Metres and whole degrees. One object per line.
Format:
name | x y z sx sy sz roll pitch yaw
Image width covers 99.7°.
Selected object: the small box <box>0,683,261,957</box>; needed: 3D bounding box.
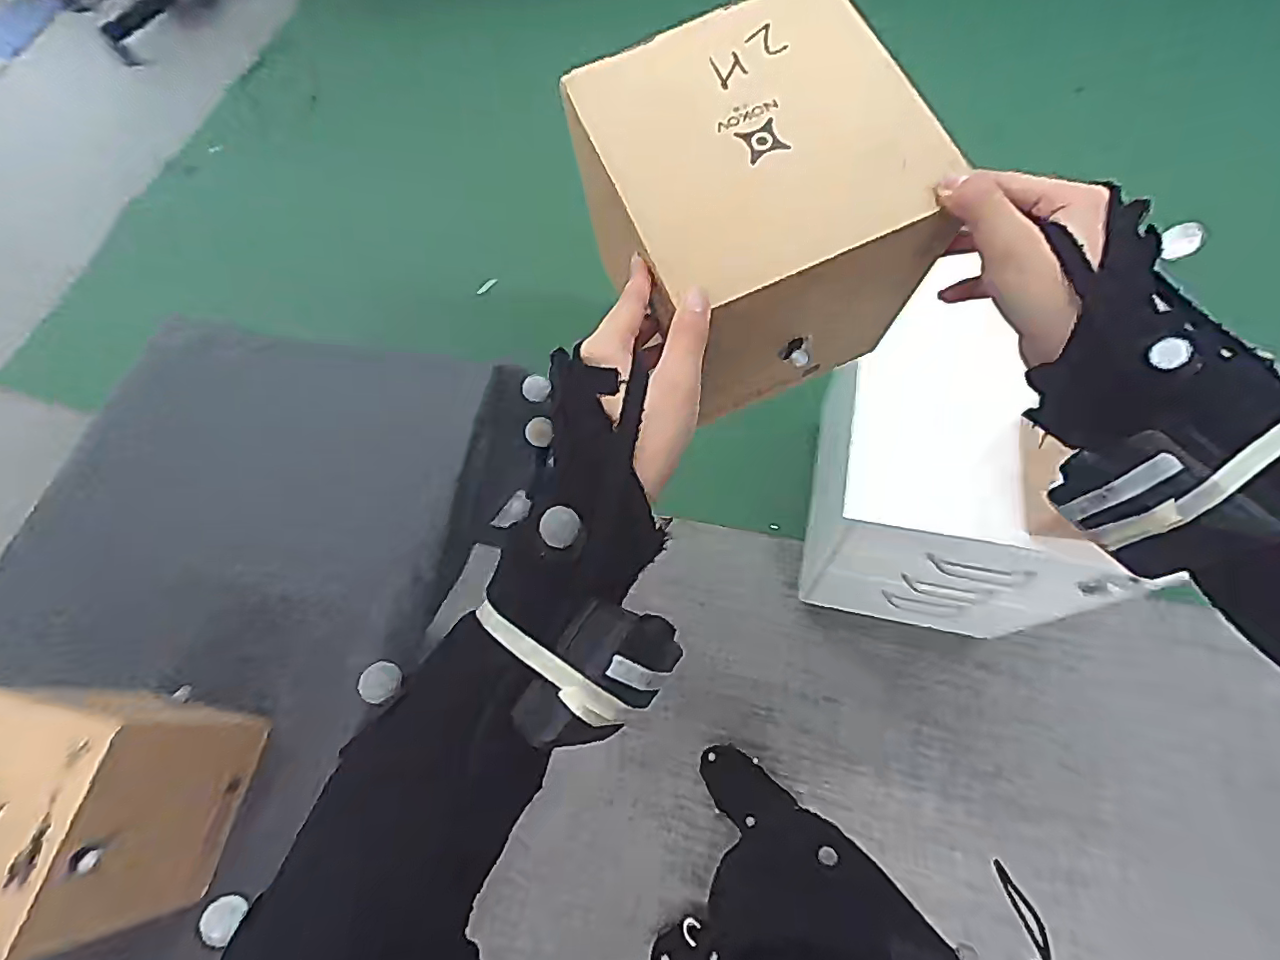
small box | -0.512 0.293 0.498 0.179 0.176 0.168 6 67 12
